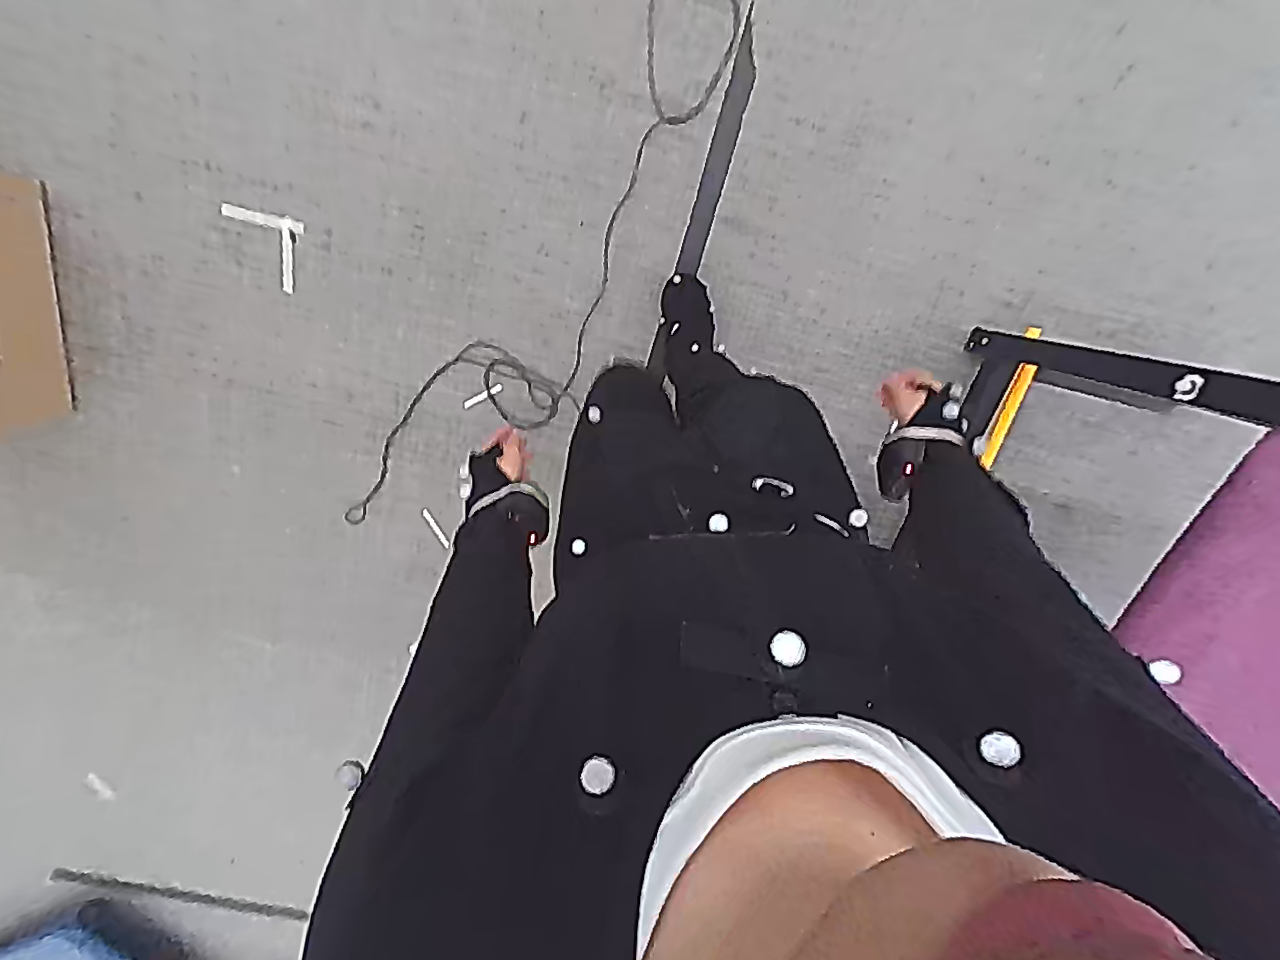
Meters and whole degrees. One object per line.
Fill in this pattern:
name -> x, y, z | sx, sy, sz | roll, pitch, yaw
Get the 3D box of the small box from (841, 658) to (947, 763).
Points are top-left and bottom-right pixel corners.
small box -> 0.652, 0.597, 1.416 | 0.168, 0.176, 0.179 | 13, 110, -4
